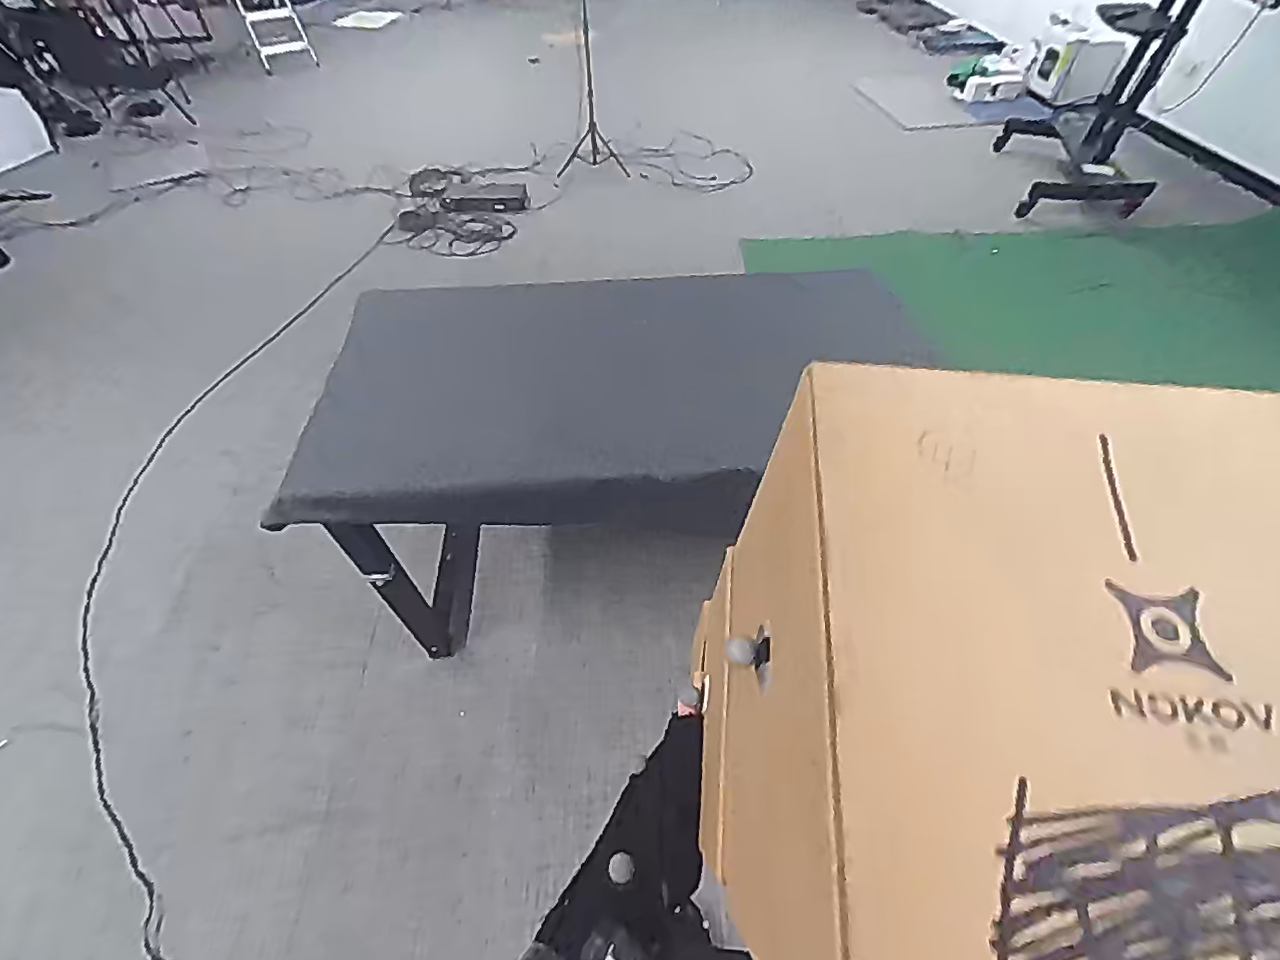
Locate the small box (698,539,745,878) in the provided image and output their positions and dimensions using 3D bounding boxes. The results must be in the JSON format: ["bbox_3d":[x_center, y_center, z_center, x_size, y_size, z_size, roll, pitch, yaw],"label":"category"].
[{"bbox_3d":[0.132,0.145,0.345,0.179,0.176,0.168,1,62,2],"label":"small box"}]

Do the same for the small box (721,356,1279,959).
[{"bbox_3d":[0.126,0.077,0.215,0.168,0.176,0.179,5,62,3],"label":"small box"}]
